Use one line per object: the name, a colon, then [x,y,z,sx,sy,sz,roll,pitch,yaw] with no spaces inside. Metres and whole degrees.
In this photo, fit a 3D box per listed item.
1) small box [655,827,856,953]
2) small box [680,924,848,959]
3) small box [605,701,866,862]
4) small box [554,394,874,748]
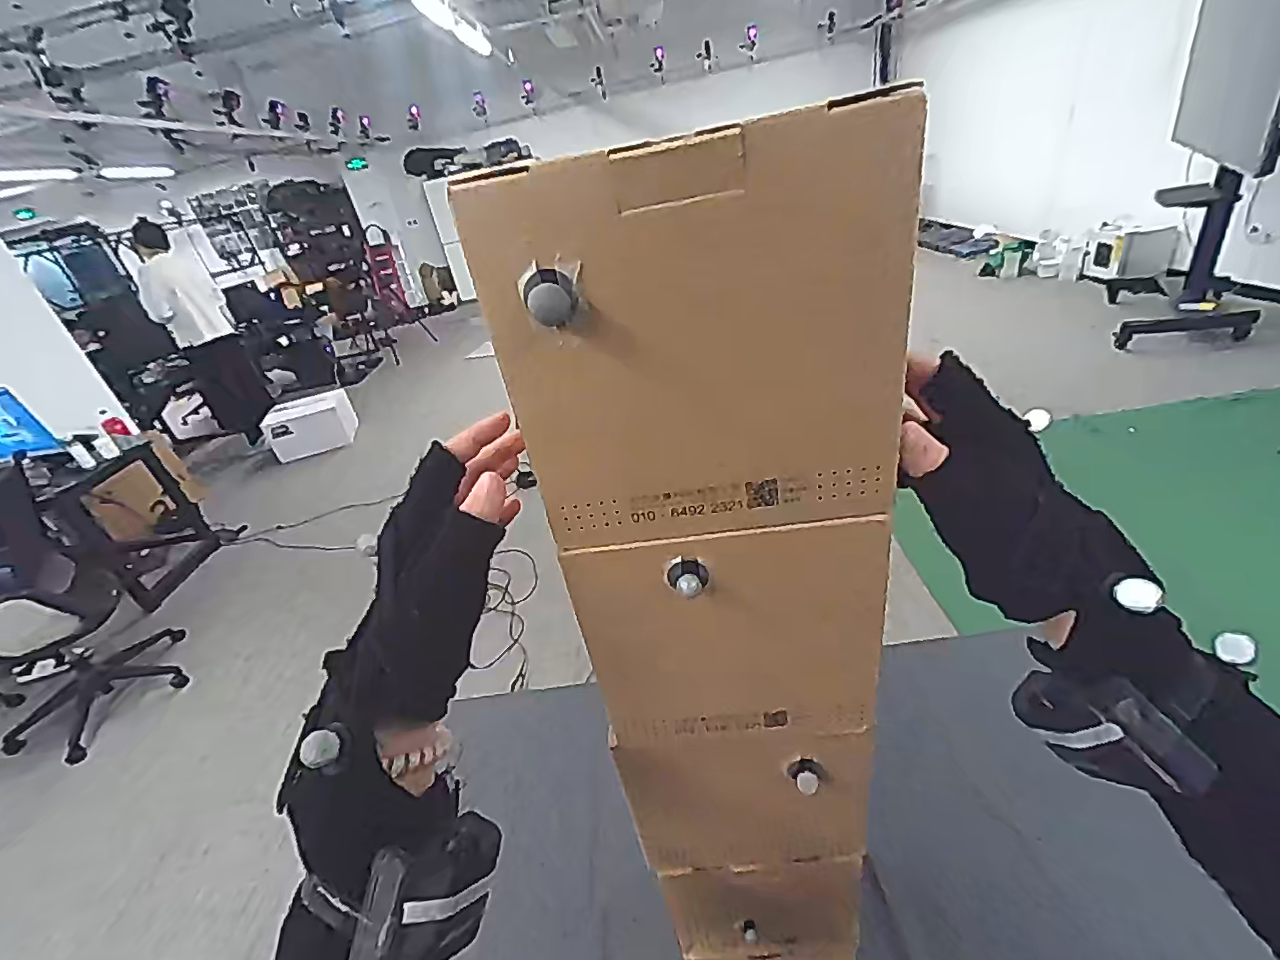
small box: [0.106,0.335,0.550,0.168,0.176,0.179,-9,30,5]
small box: [0.136,0.472,0.631,0.168,0.176,0.179,-10,29,5]
small box: [0.077,0.197,0.465,0.179,0.176,0.168,-8,30,6]
small box: [0.051,0.057,0.384,0.168,0.176,0.179,-8,30,7]
